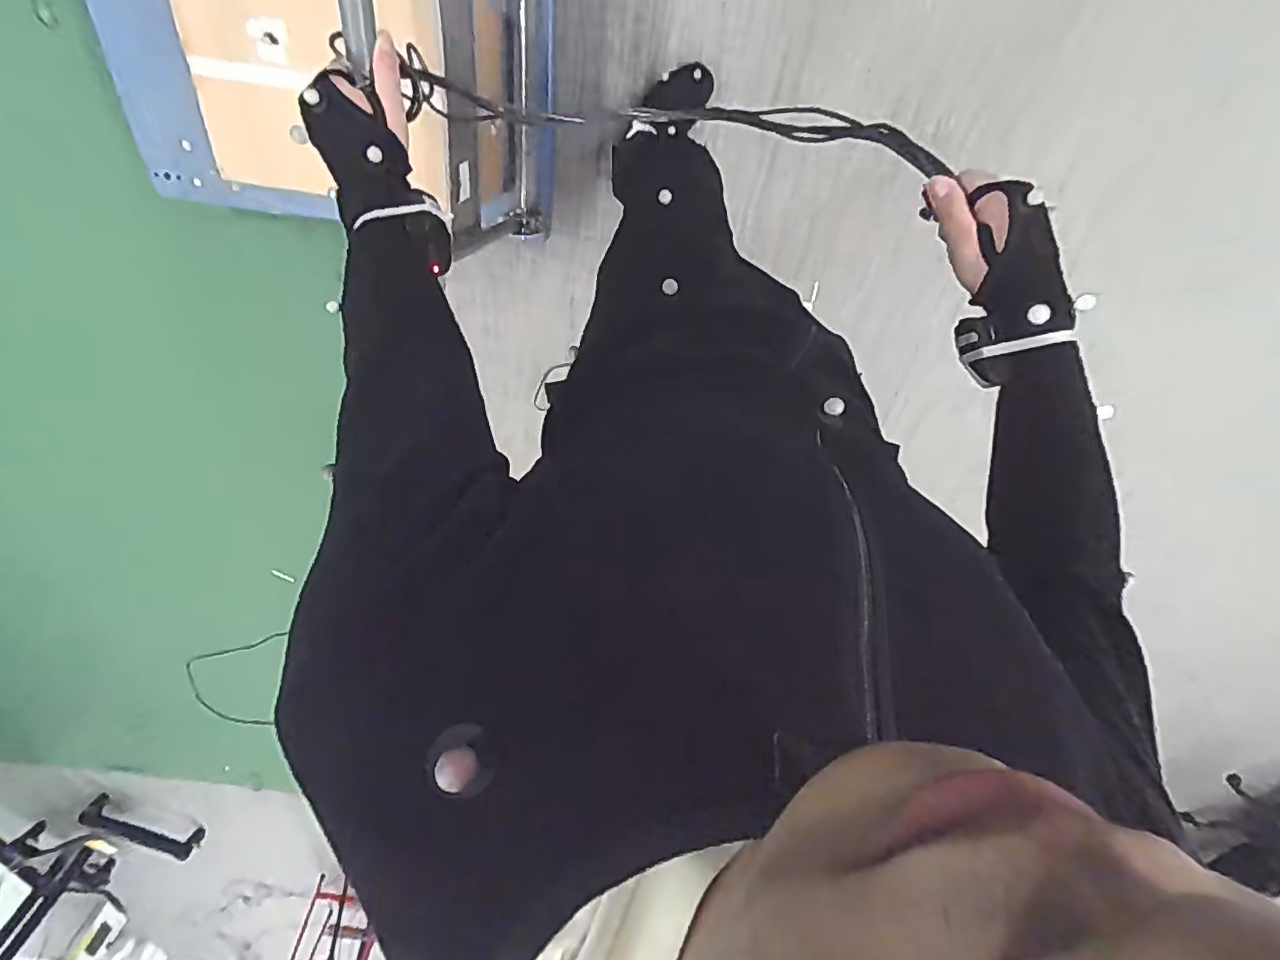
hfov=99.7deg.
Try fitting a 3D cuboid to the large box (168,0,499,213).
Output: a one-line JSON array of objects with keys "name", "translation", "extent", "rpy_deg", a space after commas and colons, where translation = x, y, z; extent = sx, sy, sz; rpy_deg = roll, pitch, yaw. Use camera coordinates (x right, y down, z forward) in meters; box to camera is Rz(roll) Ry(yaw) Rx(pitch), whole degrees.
[{"name": "large box", "translation": [-0.487, -0.688, 0.955], "extent": [0.408, 0.320, 0.320], "rpy_deg": [7, 124, -3]}]
